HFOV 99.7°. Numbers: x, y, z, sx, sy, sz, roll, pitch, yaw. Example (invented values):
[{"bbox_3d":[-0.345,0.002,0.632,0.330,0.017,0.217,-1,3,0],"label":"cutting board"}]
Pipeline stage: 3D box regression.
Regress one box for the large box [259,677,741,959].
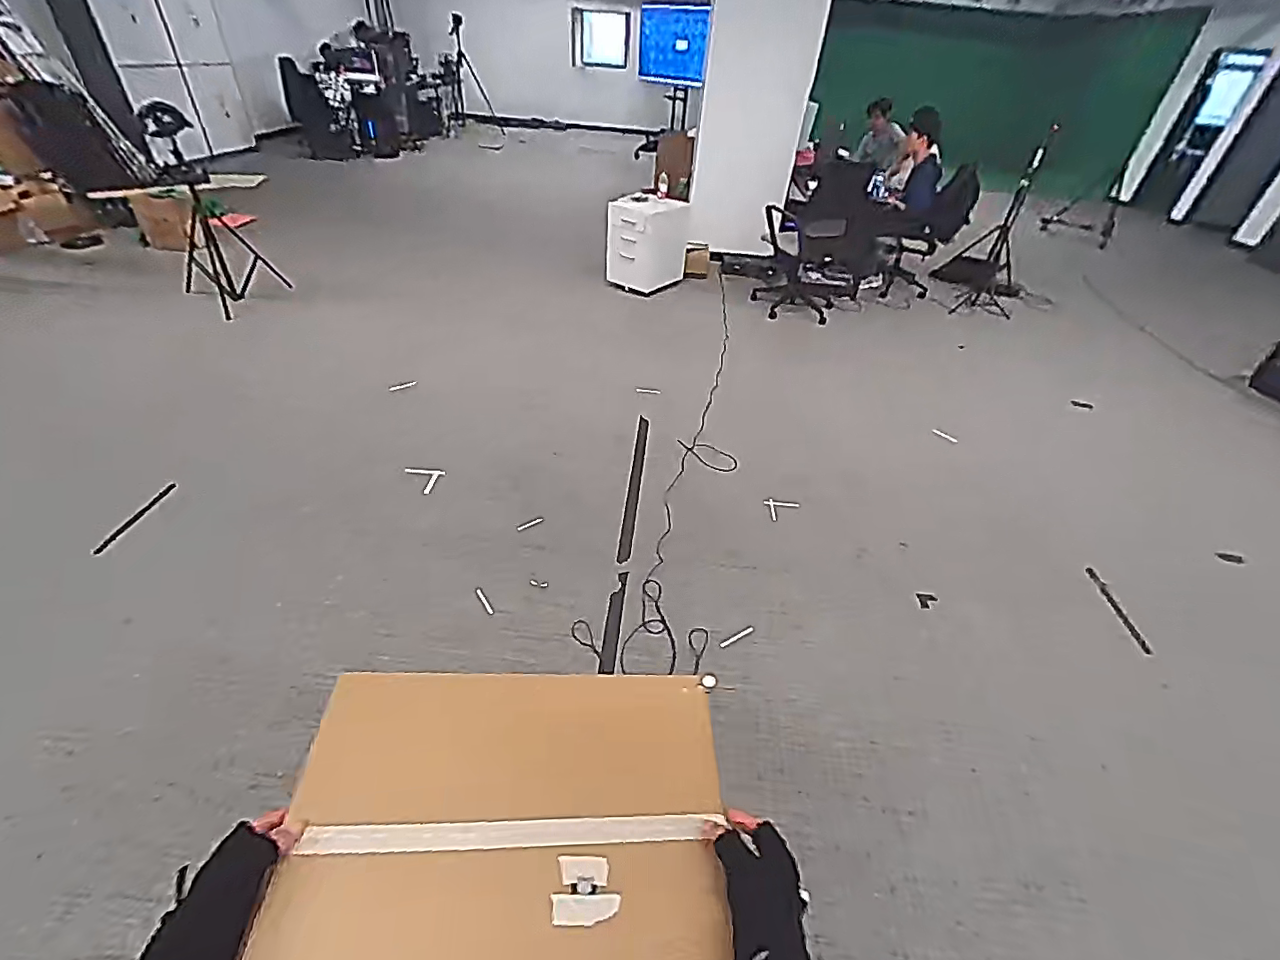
[{"bbox_3d":[-0.134,0.445,0.616,0.408,0.320,0.320,4,44,-7],"label":"large box"}]
